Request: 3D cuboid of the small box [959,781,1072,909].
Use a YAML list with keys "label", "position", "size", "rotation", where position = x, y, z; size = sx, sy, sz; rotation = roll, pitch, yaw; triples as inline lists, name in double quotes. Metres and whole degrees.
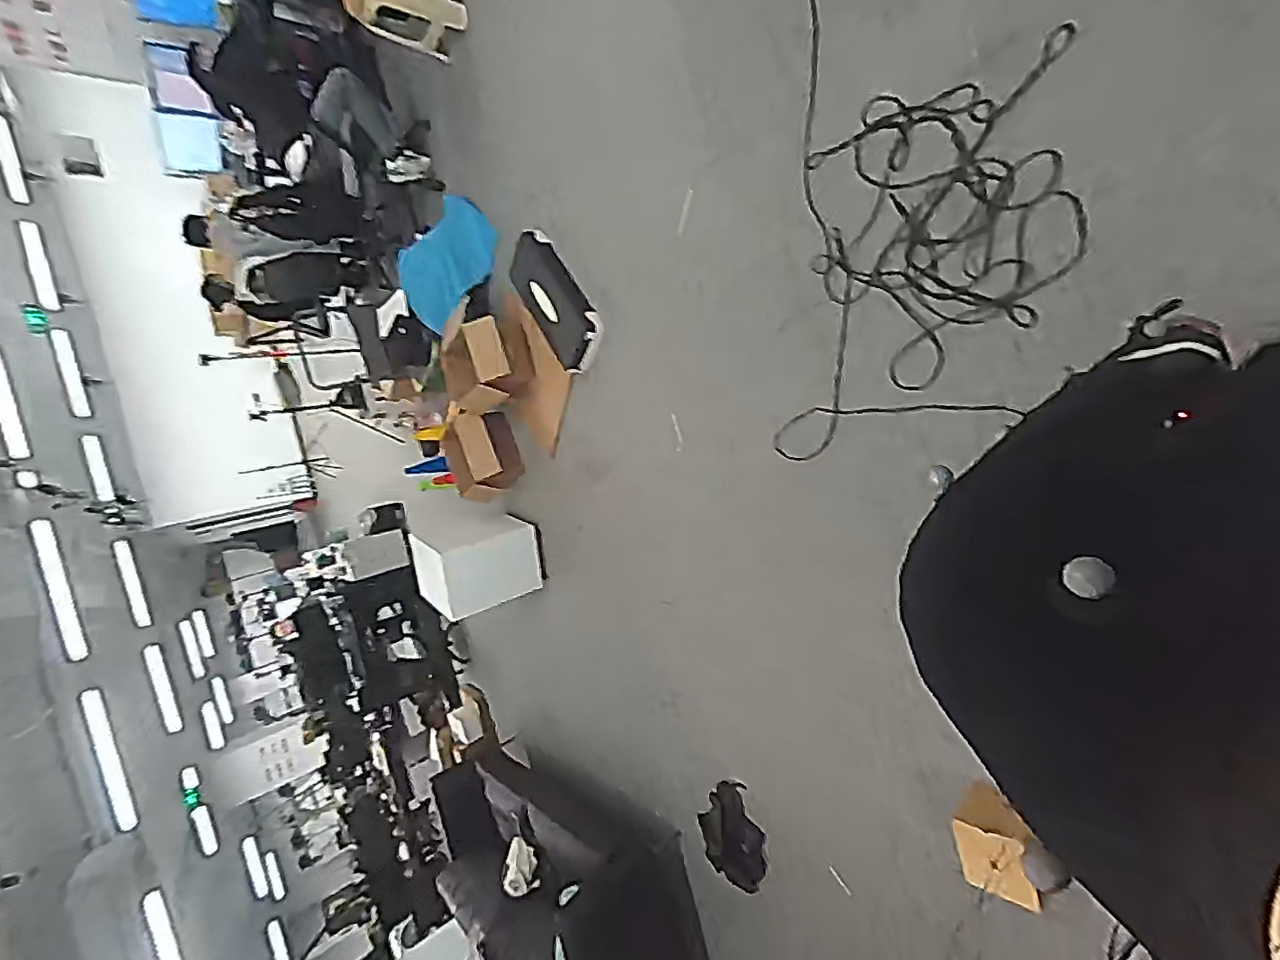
- label: "small box"
  position: [0.937, 0.896, 1.346]
  size: [0.168, 0.176, 0.179]
  rotation: [-16, 90, 54]
